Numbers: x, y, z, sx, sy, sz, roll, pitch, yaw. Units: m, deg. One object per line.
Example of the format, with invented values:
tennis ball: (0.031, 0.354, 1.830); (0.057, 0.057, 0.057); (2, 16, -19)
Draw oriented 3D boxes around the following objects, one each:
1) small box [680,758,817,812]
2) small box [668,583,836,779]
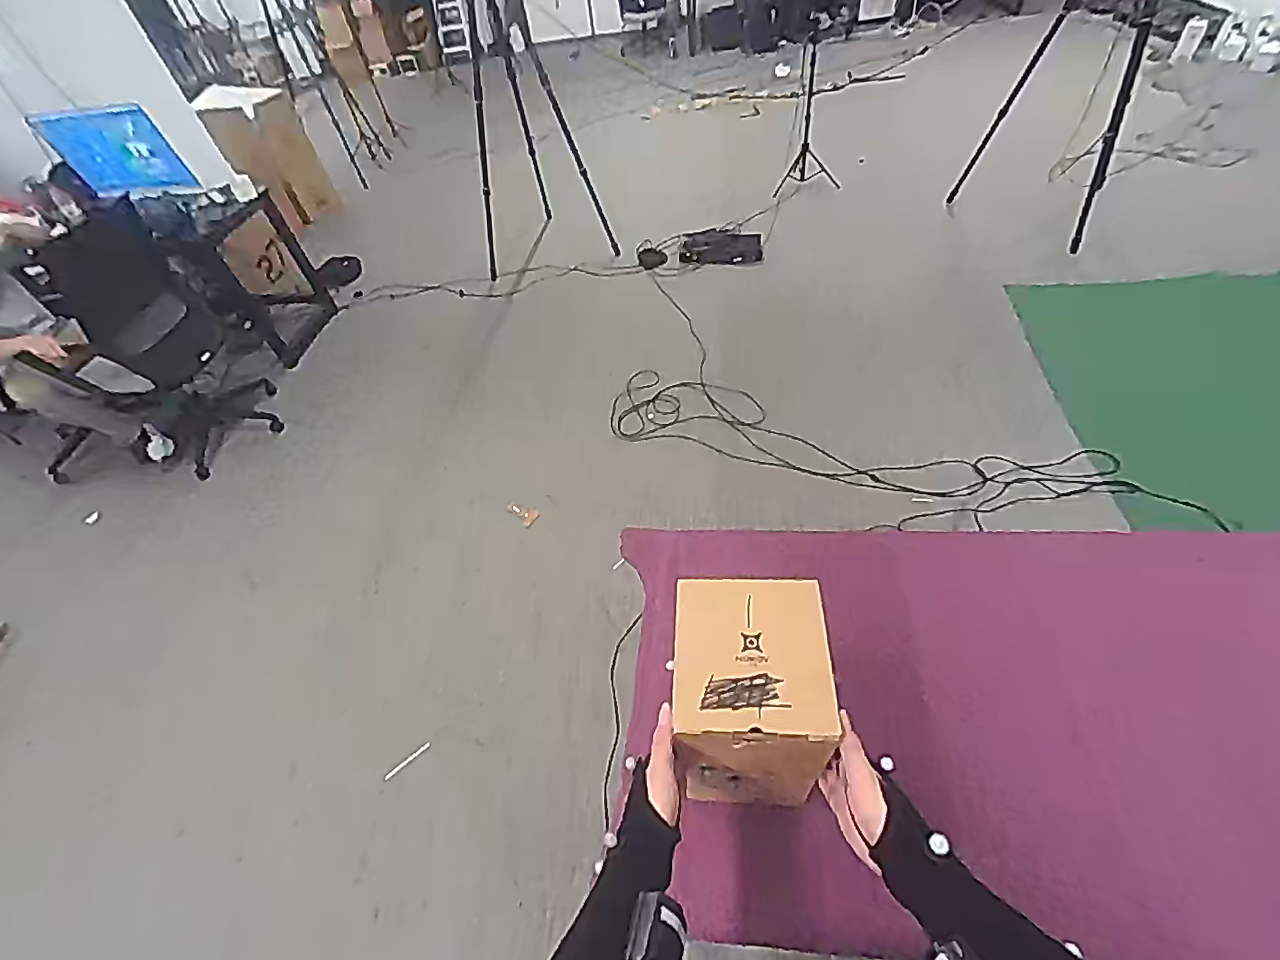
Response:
small box: (0.146, 0.347, 0.763); (0.168, 0.176, 0.179); (-2, 48, 9)
small box: (0.127, 0.239, 0.639); (0.168, 0.176, 0.179); (-1, 48, 8)
